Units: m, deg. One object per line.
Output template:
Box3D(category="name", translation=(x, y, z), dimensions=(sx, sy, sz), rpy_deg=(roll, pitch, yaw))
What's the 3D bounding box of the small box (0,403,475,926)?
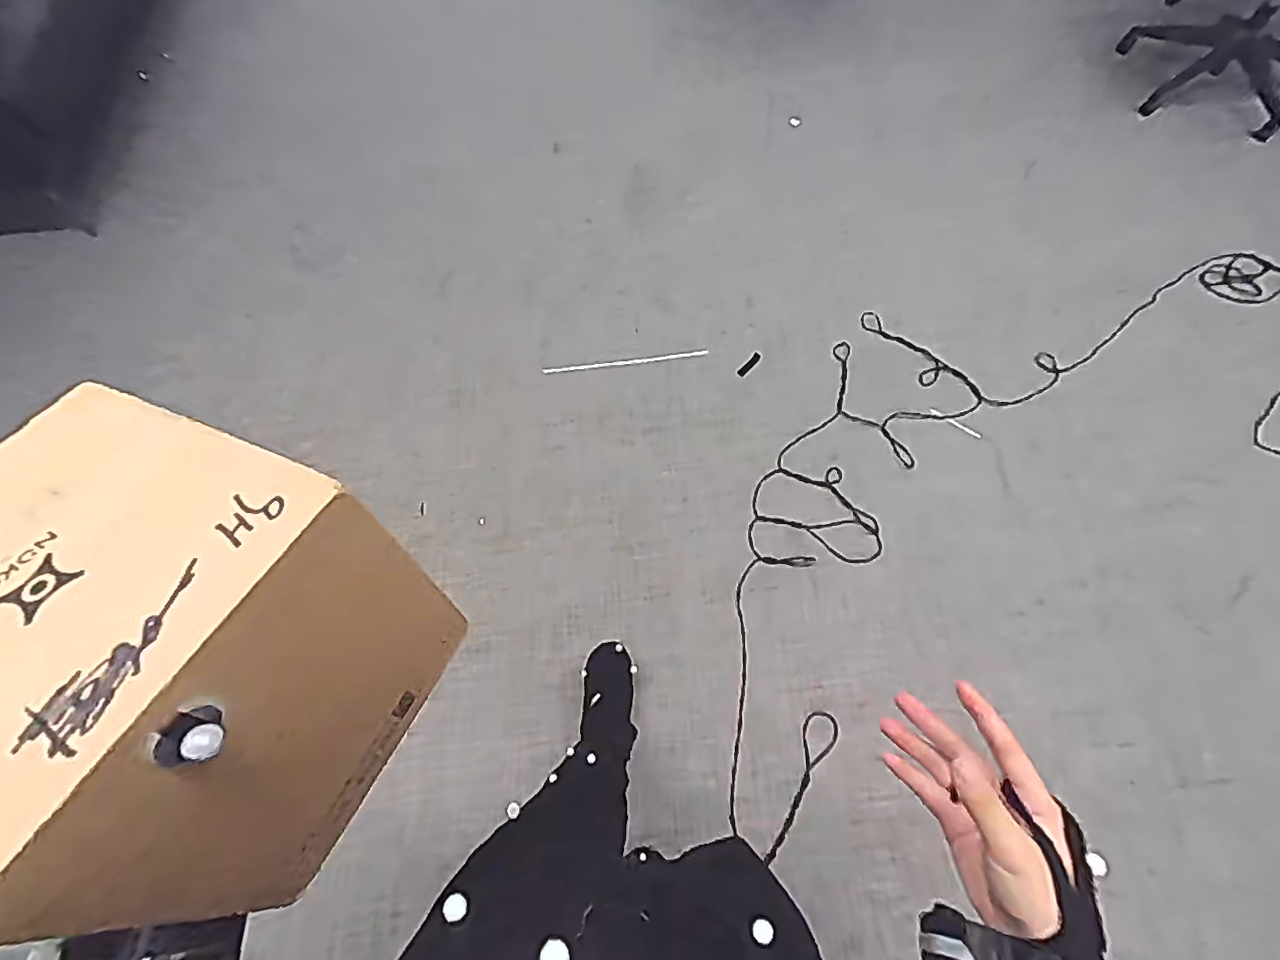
Box3D(category="small box", translation=(-0.222, 0.091, 0.283), dimensions=(0.179, 0.176, 0.168), rpy_deg=(17, 59, 16))
